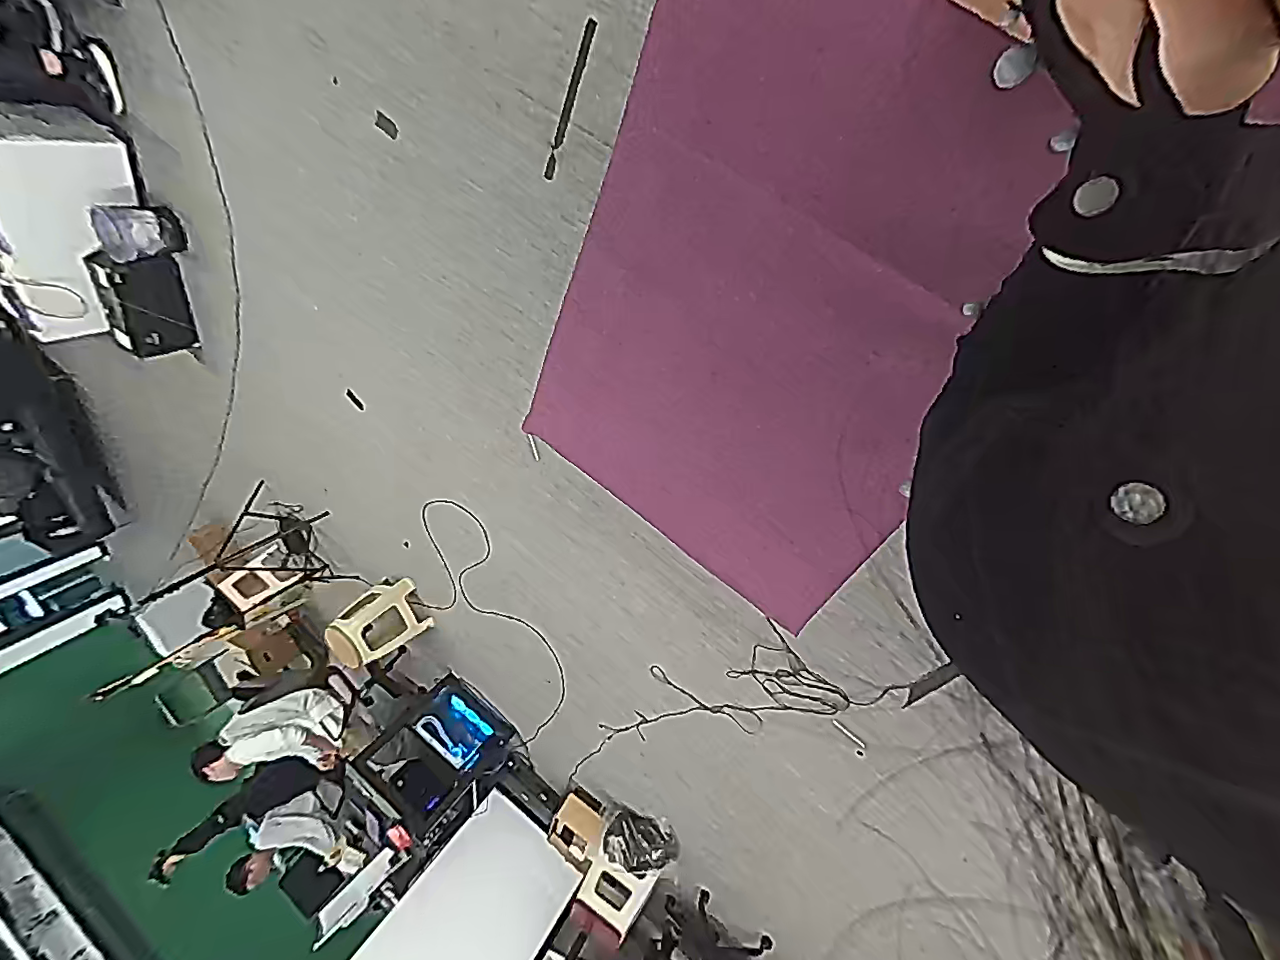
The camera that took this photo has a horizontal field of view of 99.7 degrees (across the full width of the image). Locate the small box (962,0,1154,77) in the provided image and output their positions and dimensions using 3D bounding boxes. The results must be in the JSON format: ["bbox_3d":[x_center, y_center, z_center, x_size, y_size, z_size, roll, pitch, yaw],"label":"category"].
[{"bbox_3d":[0.351,-0.425,0.389,0.179,0.176,0.168,40,132,9],"label":"small box"}]

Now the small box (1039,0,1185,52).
[{"bbox_3d":[0.272,-0.352,0.267,0.179,0.176,0.168,41,132,7],"label":"small box"}]
